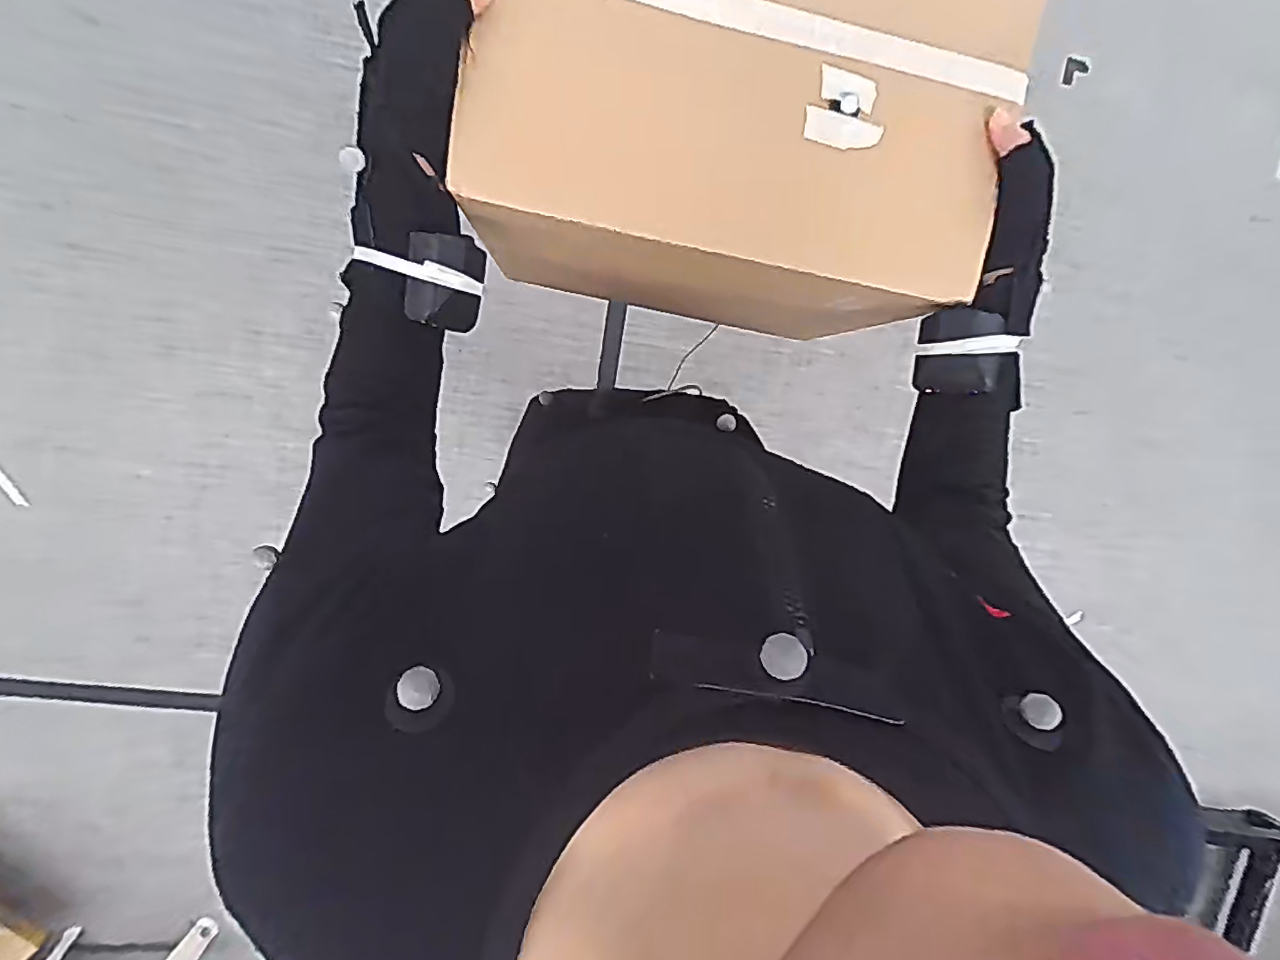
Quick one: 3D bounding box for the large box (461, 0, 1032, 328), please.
[{"bbox_3d":[0.069,-0.353,0.534,0.408,0.320,0.320,9,100,-9],"label":"large box"}]
